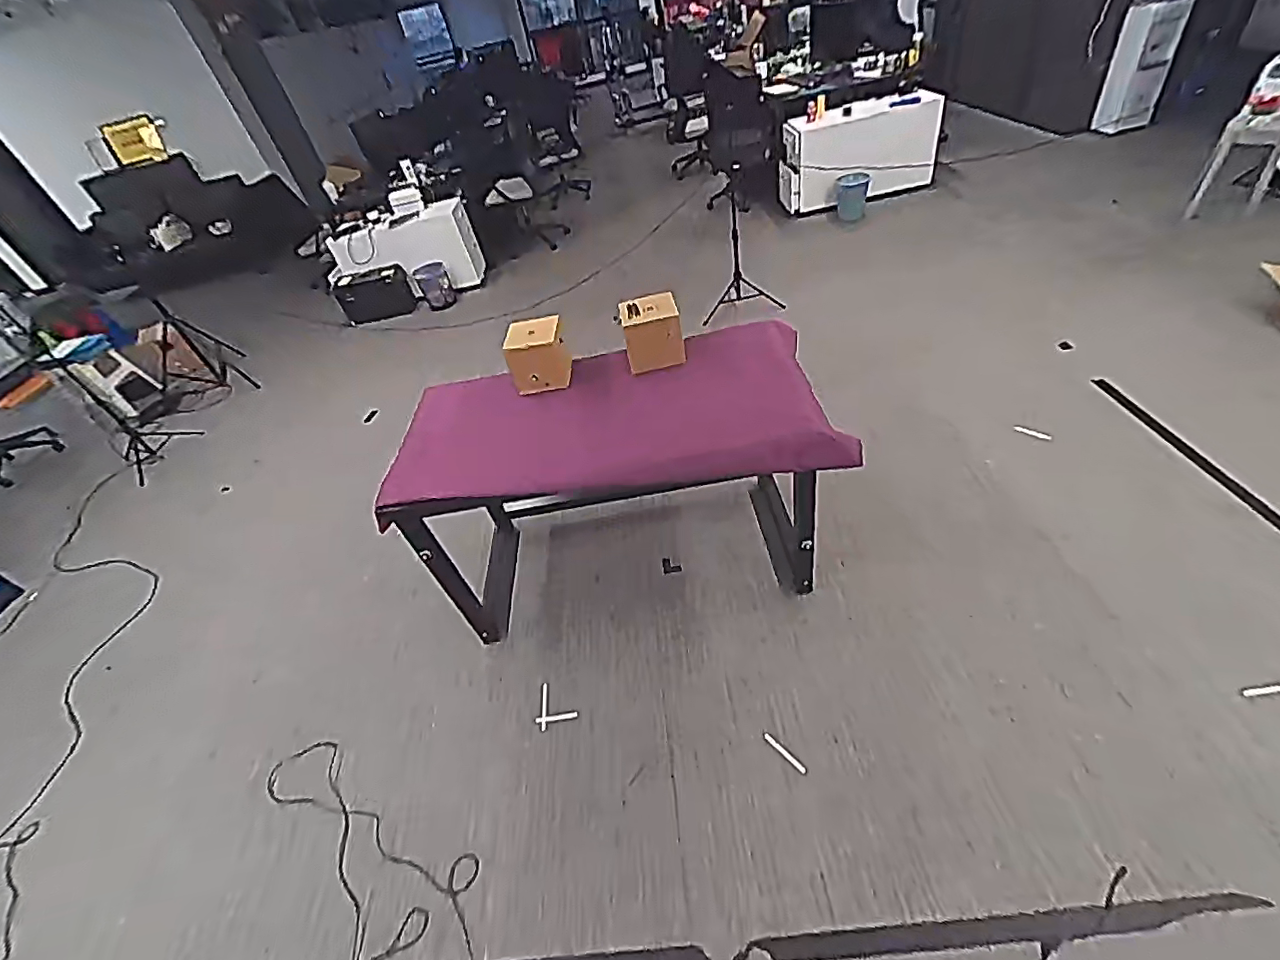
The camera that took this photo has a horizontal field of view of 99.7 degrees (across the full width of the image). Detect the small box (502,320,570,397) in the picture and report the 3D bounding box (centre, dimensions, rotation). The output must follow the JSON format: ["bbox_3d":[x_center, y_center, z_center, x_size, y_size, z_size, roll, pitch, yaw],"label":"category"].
[{"bbox_3d":[-0.328,-0.392,1.747,0.168,0.176,0.179,-8,43,6],"label":"small box"}]
